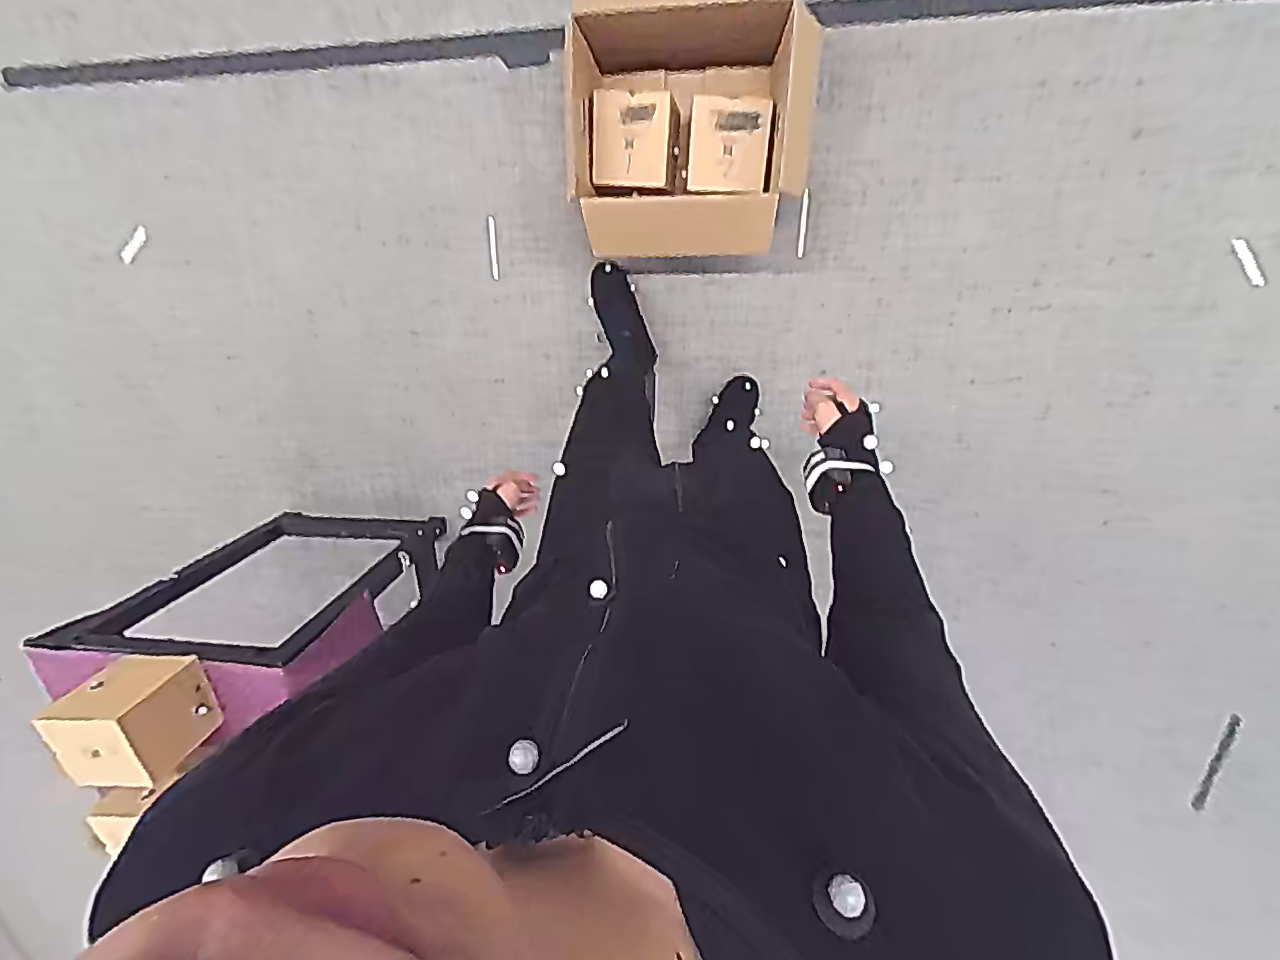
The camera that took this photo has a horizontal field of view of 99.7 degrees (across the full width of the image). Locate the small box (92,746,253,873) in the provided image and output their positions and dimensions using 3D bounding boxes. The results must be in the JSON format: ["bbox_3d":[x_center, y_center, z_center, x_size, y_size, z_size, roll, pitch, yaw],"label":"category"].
[{"bbox_3d":[-0.963,0.685,1.139,0.179,0.176,0.168,-4,110,9],"label":"small box"}]

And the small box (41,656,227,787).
[{"bbox_3d":[-0.970,0.461,1.055,0.179,0.176,0.168,-2,112,9],"label":"small box"}]
